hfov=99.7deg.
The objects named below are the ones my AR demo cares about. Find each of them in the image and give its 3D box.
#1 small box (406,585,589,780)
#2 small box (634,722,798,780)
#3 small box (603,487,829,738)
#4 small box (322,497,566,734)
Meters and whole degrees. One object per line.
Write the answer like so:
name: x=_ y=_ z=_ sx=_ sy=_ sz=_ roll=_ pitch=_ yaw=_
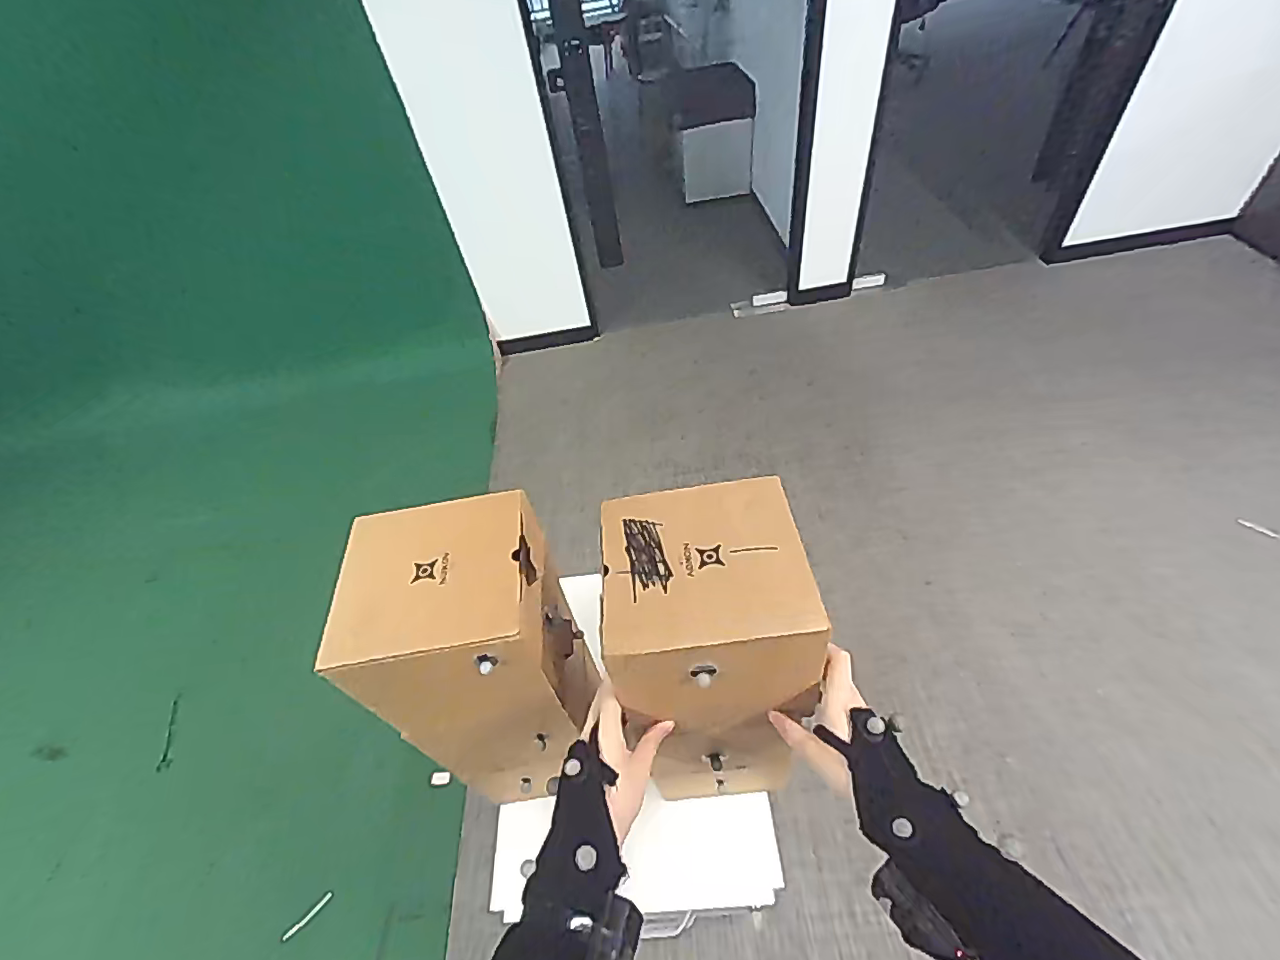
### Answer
small box: x=-0.163 y=0.255 z=0.678 sx=0.179 sy=0.176 sz=0.168 roll=-11 pitch=47 yaw=-1
small box: x=0.083 y=0.244 z=0.644 sx=0.168 sy=0.176 sz=0.179 roll=-8 pitch=48 yaw=4
small box: x=0.066 y=0.131 z=0.519 sx=0.179 sy=0.176 sz=0.168 roll=-8 pitch=45 yaw=3
small box: x=-0.182 y=0.144 z=0.560 sx=0.179 sy=0.176 sz=0.168 roll=-9 pitch=48 yaw=-2
